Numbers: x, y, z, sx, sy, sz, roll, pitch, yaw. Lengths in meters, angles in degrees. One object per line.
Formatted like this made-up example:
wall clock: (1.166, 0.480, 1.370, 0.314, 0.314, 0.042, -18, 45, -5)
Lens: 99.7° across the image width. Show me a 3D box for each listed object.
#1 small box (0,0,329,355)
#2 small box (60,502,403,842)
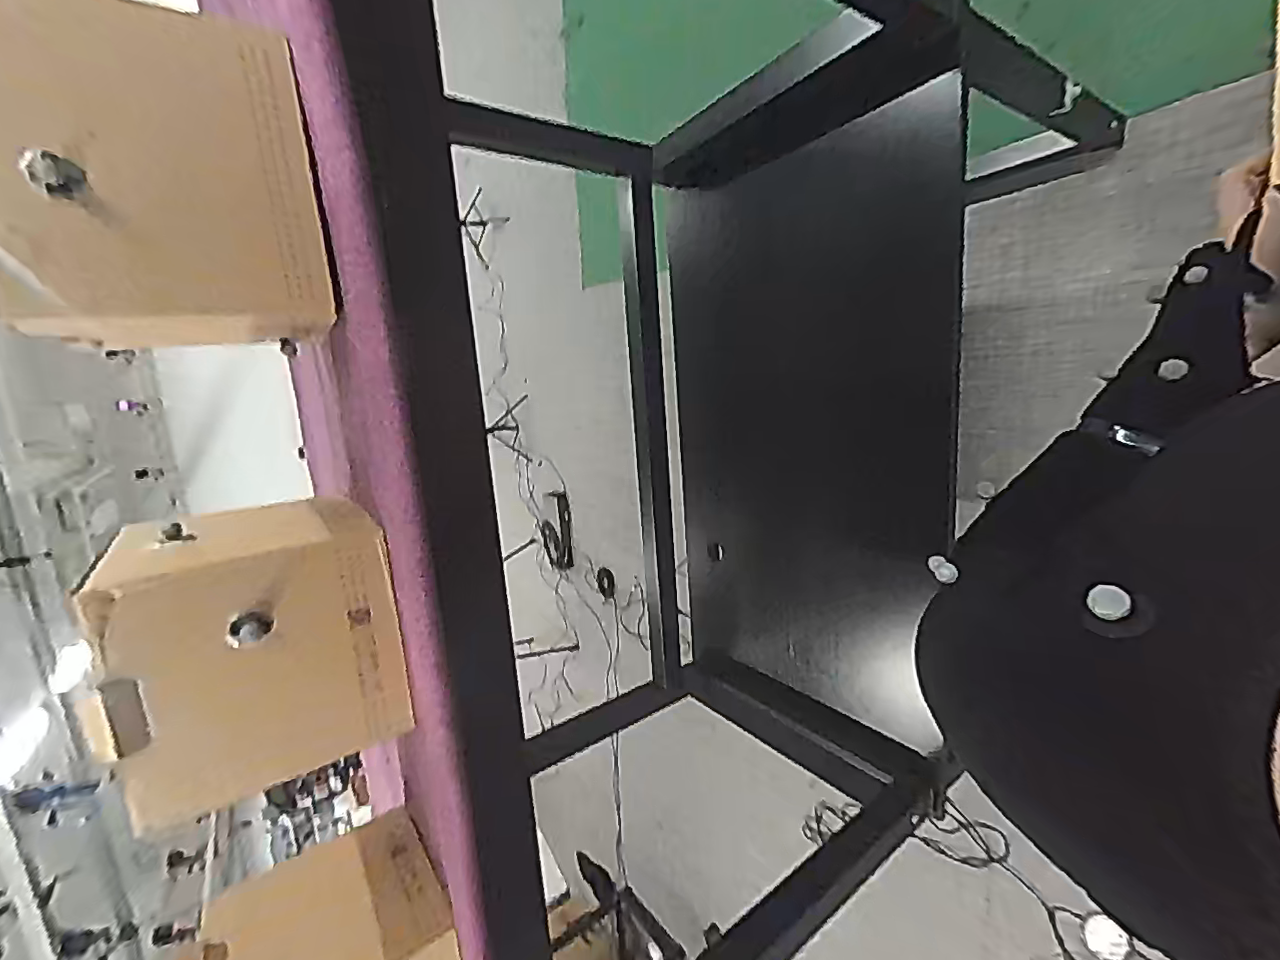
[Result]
small box: (-0.329, -0.188, 0.376, 0.168, 0.176, 0.179, 9, 108, 56)
small box: (-0.295, 0.119, 0.425, 0.179, 0.176, 0.168, 12, 108, 53)
